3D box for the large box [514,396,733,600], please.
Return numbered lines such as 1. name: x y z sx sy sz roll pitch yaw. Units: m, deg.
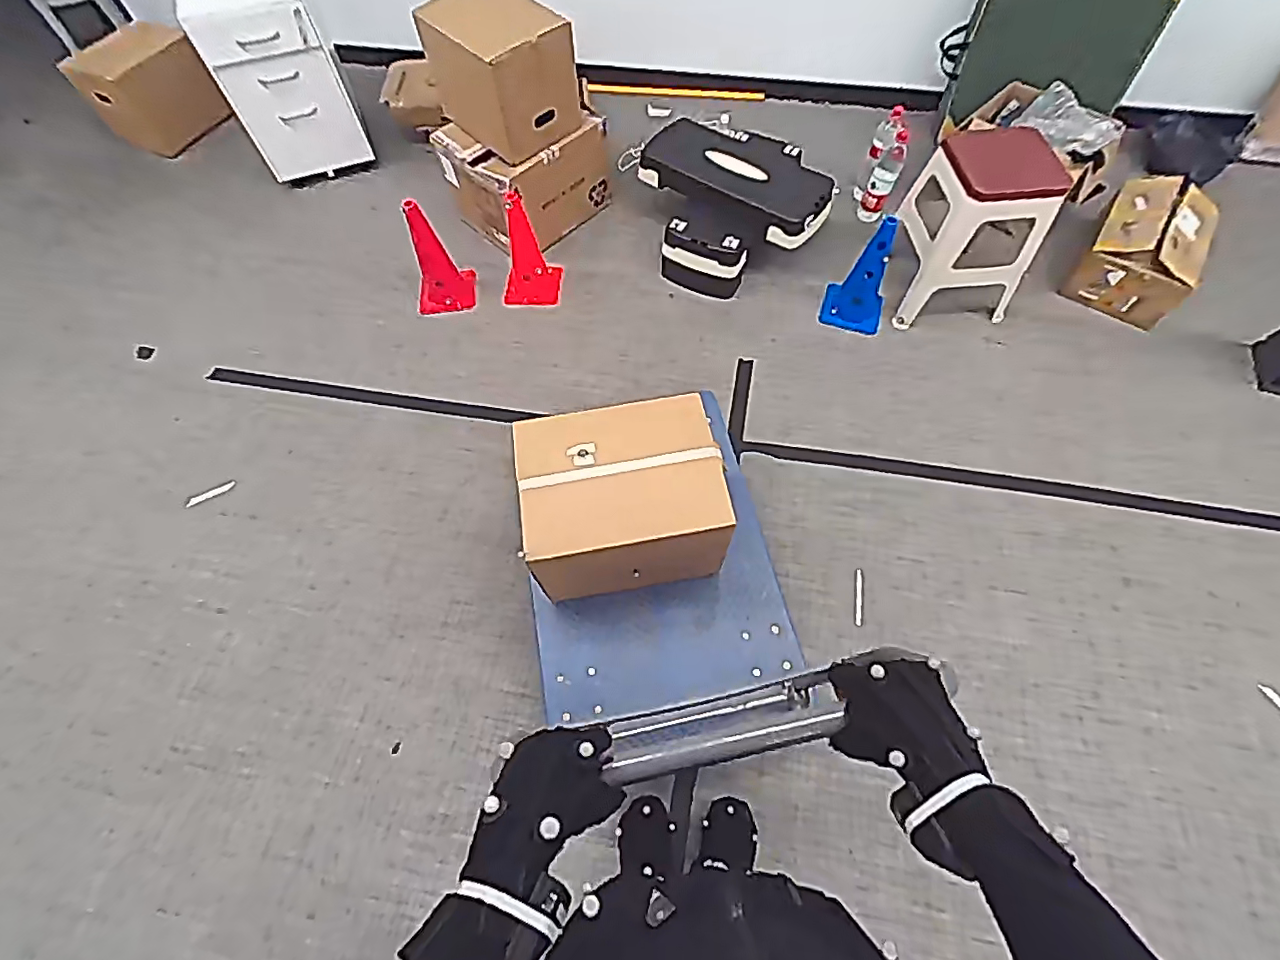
1. large box: -0.037 0.053 1.215 0.408 0.320 0.320 -10 63 -3
